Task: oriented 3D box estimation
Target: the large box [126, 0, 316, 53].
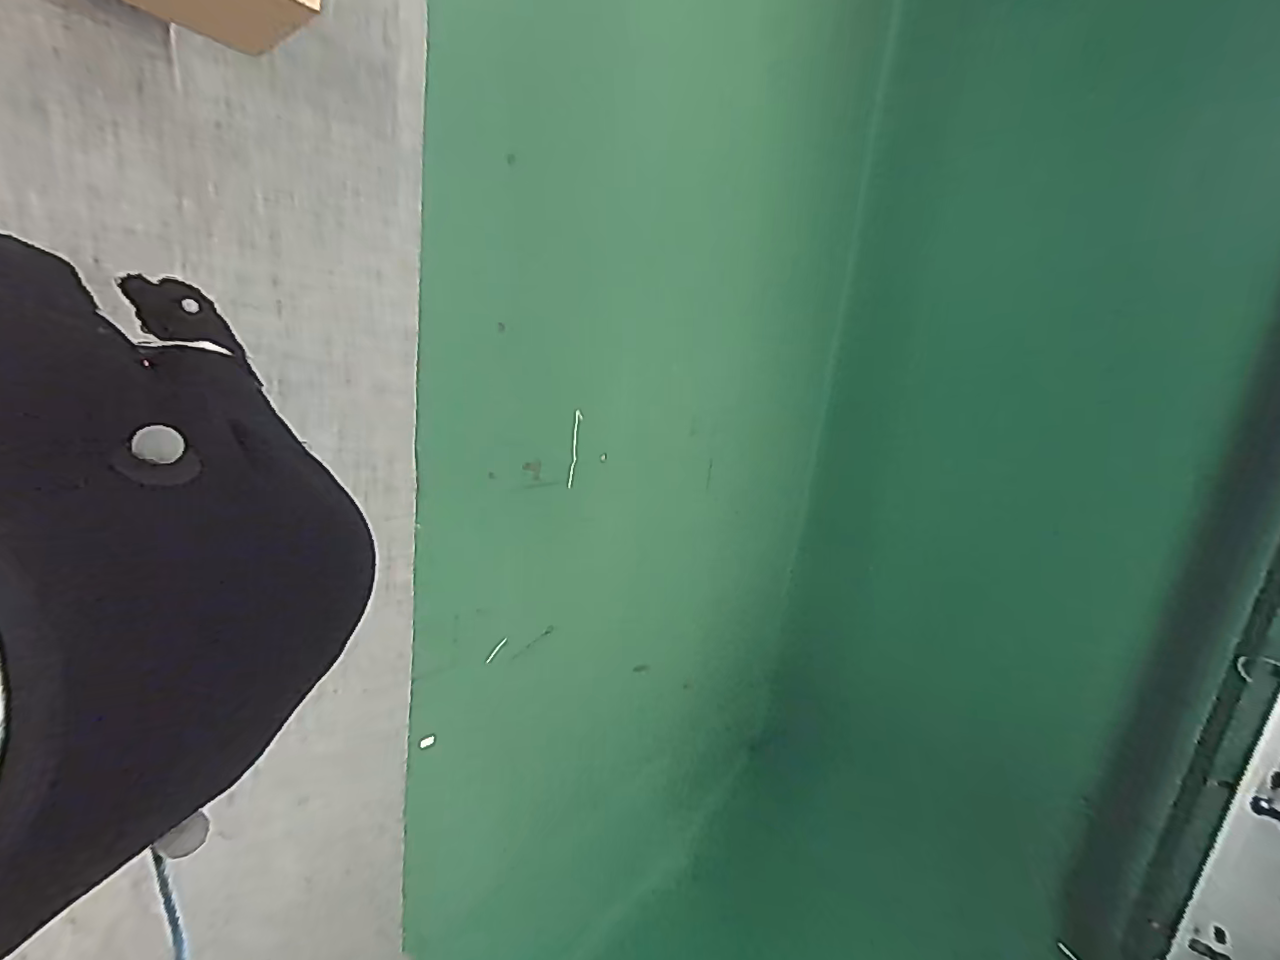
[{"bbox_3d":[-0.726,-0.896,0.755,0.408,0.320,0.320,-6,108,-50],"label":"large box"}]
